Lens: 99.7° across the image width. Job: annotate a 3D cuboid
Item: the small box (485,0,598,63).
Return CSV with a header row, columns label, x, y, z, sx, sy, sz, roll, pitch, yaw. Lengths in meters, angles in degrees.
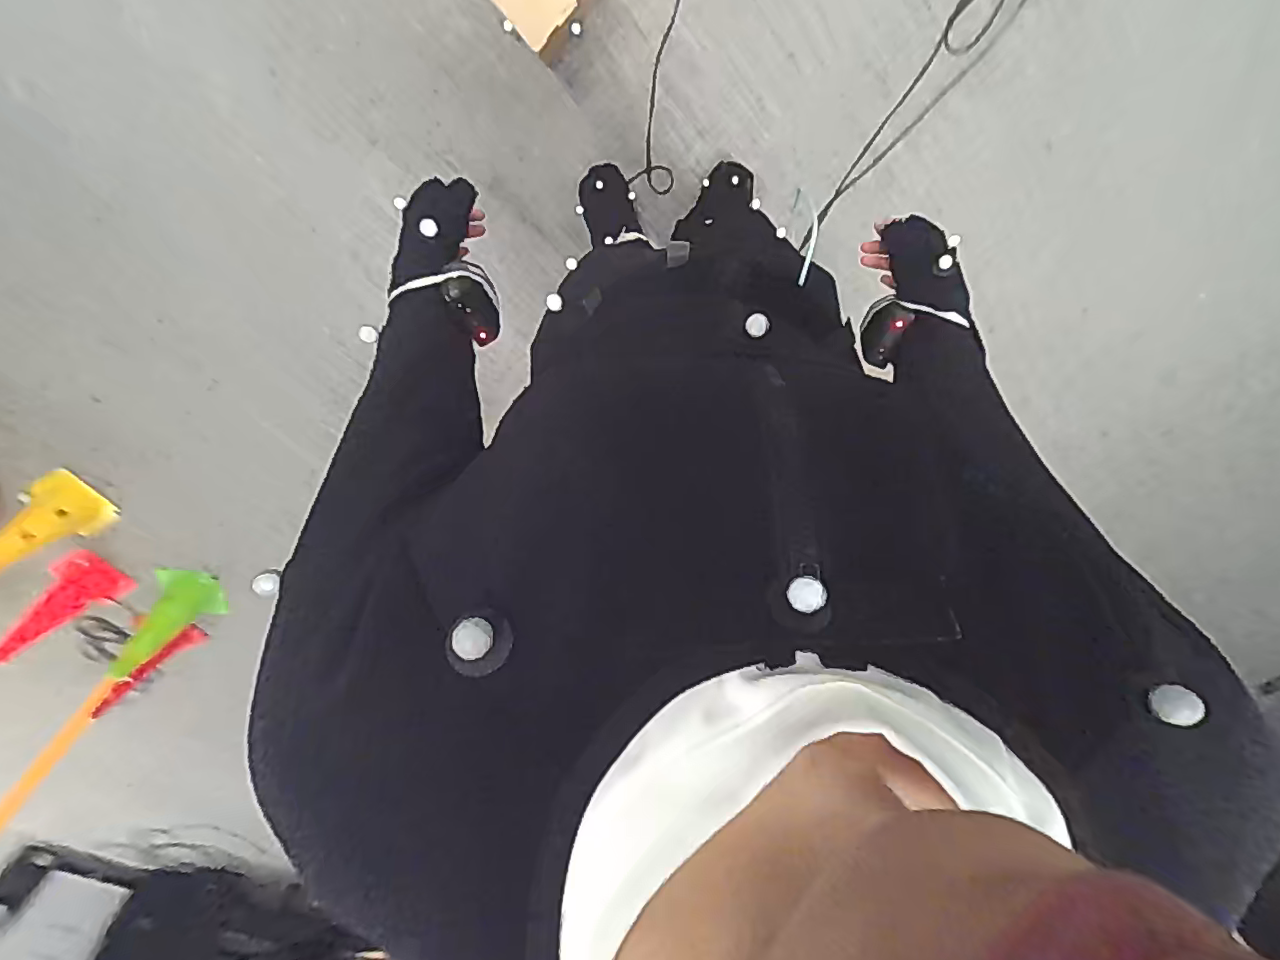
label,x,y,z,sx,sy,sz,roll,pitch,yaw
small box,-0.186,-0.889,0.965,0.168,0.176,0.179,-39,116,21
